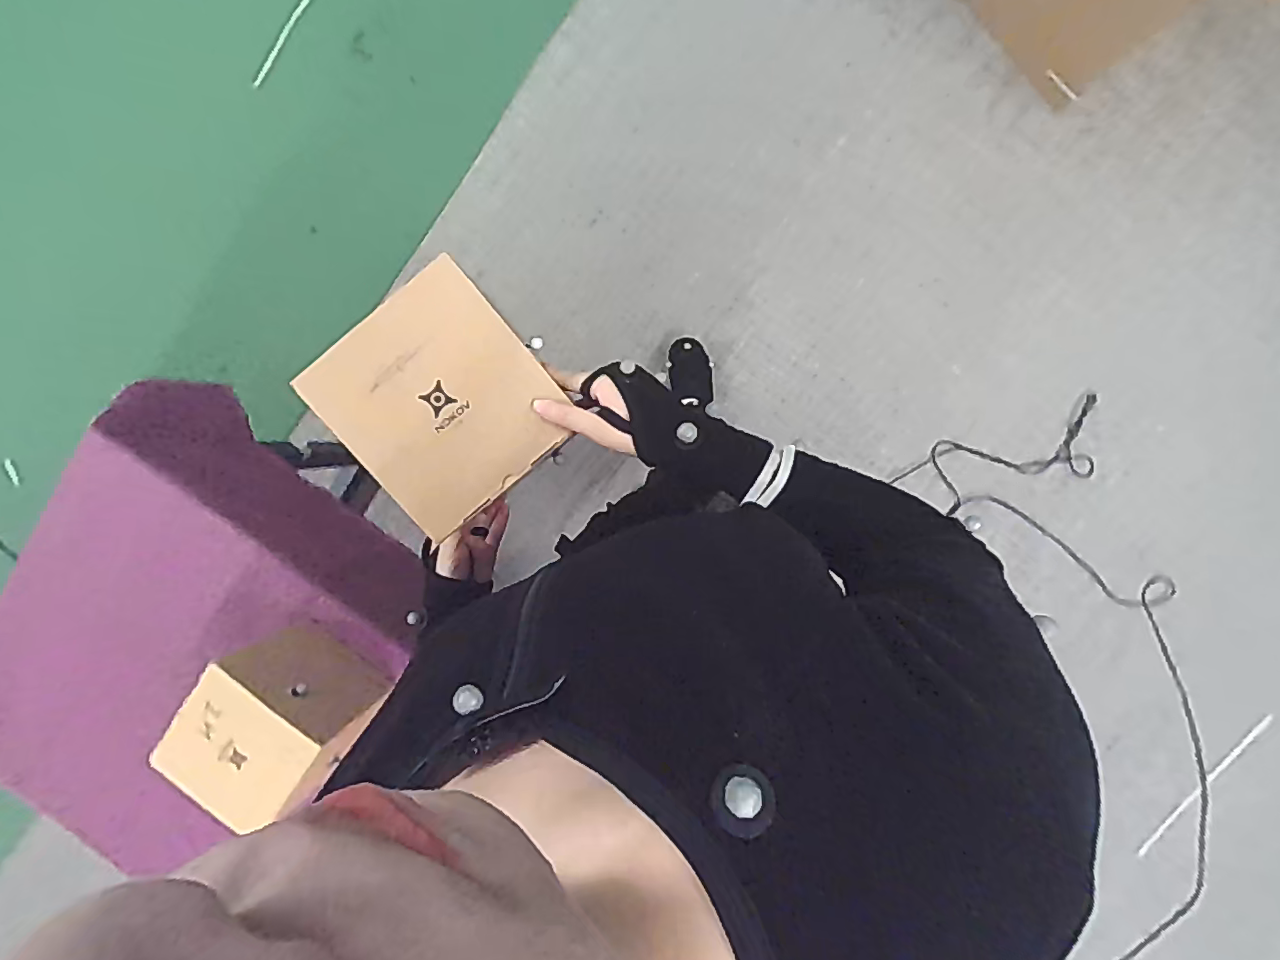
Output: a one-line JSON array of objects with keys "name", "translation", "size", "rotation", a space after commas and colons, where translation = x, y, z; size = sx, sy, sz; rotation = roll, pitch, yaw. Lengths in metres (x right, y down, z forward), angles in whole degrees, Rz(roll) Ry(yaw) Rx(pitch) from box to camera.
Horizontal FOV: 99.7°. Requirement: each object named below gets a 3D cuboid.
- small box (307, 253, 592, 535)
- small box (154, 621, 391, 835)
[{"name": "small box", "translation": [-0.158, -0.078, 0.522], "size": [0.168, 0.176, 0.179], "rotation": [-38, 98, 1]}, {"name": "small box", "translation": [-0.488, 0.324, 0.748], "size": [0.179, 0.176, 0.168], "rotation": [37, 97, 2]}]
